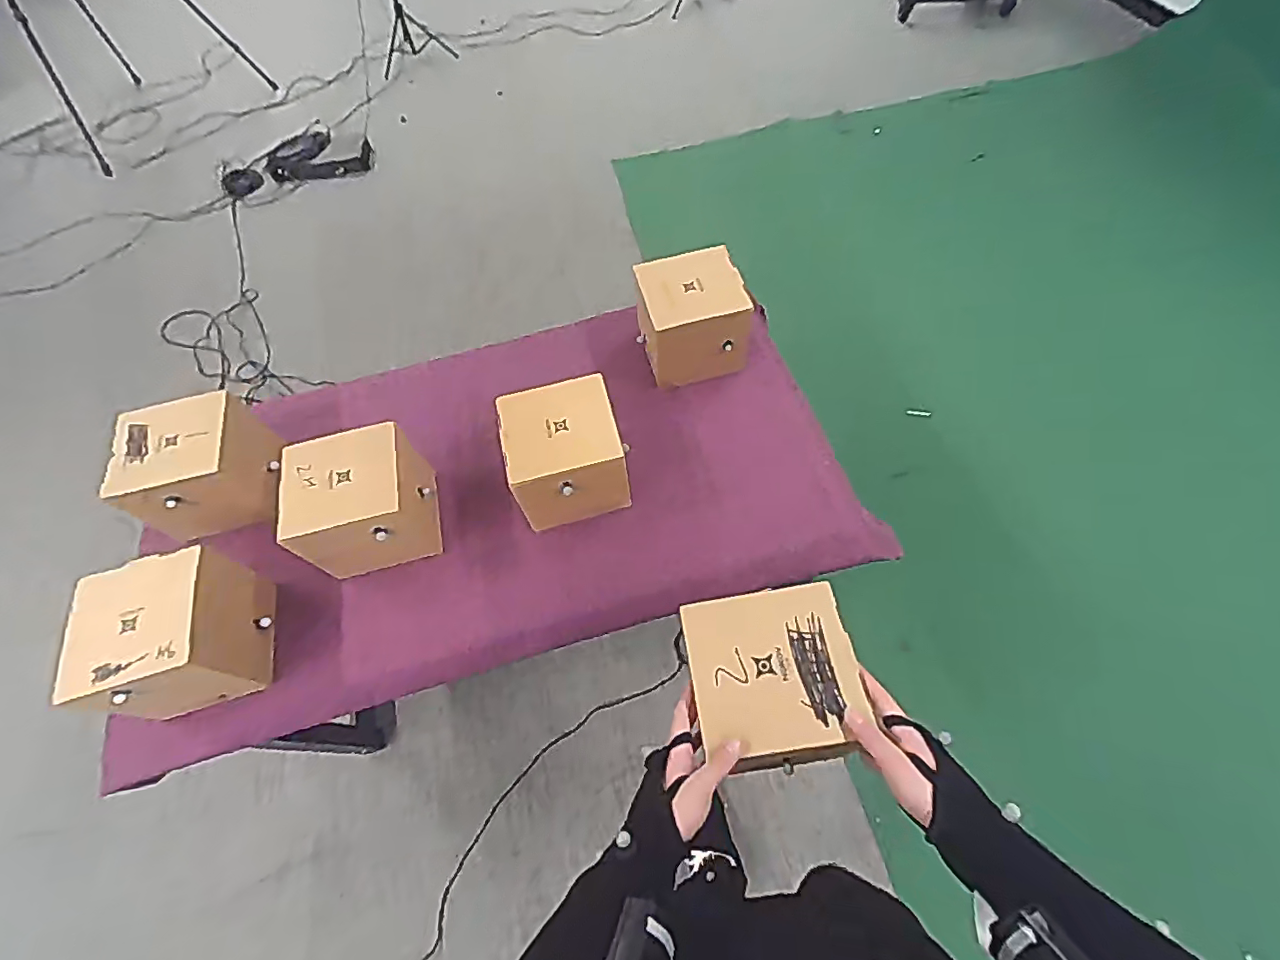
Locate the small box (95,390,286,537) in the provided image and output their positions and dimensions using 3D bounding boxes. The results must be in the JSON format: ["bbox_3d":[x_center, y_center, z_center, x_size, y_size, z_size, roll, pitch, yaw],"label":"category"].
[{"bbox_3d":[-0.738,-0.021,0.913,0.179,0.176,0.168,-14,62,-5],"label":"small box"}]

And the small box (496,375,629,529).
[{"bbox_3d":[-0.119,-0.040,0.885,0.179,0.176,0.168,-15,62,-3],"label":"small box"}]

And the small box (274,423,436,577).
[{"bbox_3d":[-0.439,0.037,0.862,0.179,0.176,0.168,-14,61,-4],"label":"small box"}]

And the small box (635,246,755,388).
[{"bbox_3d":[0.096,-0.297,1.005,0.179,0.176,0.168,-14,63,-3],"label":"small box"}]

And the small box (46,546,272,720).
[{"bbox_3d":[-0.663,0.224,0.775,0.168,0.176,0.179,-17,60,-5],"label":"small box"}]
